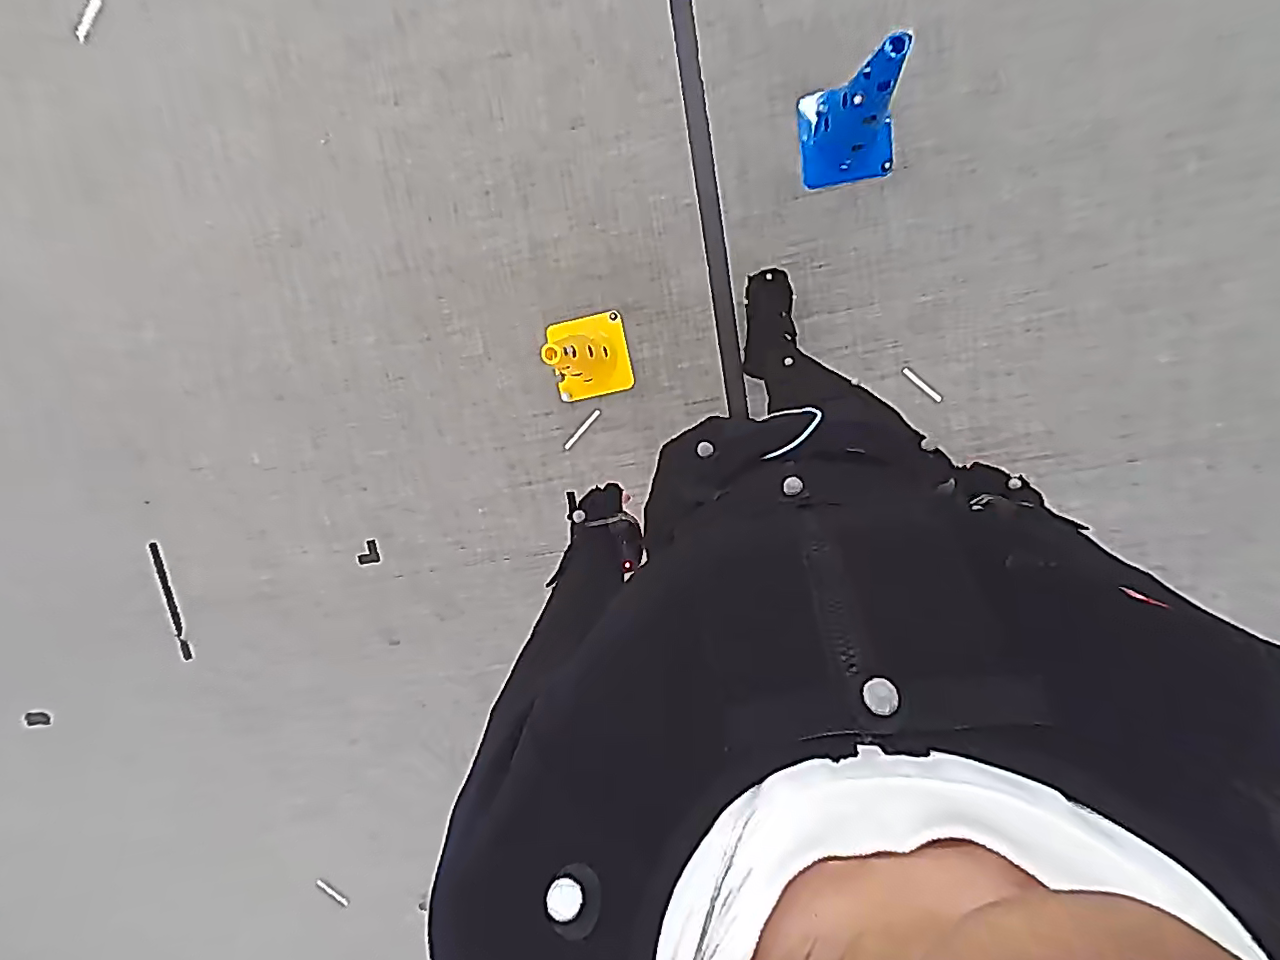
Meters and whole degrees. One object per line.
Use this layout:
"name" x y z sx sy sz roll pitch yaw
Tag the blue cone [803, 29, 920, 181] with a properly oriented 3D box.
"blue cone" 0.454 -0.759 1.072 0.192 0.380 0.193 -5 100 7
